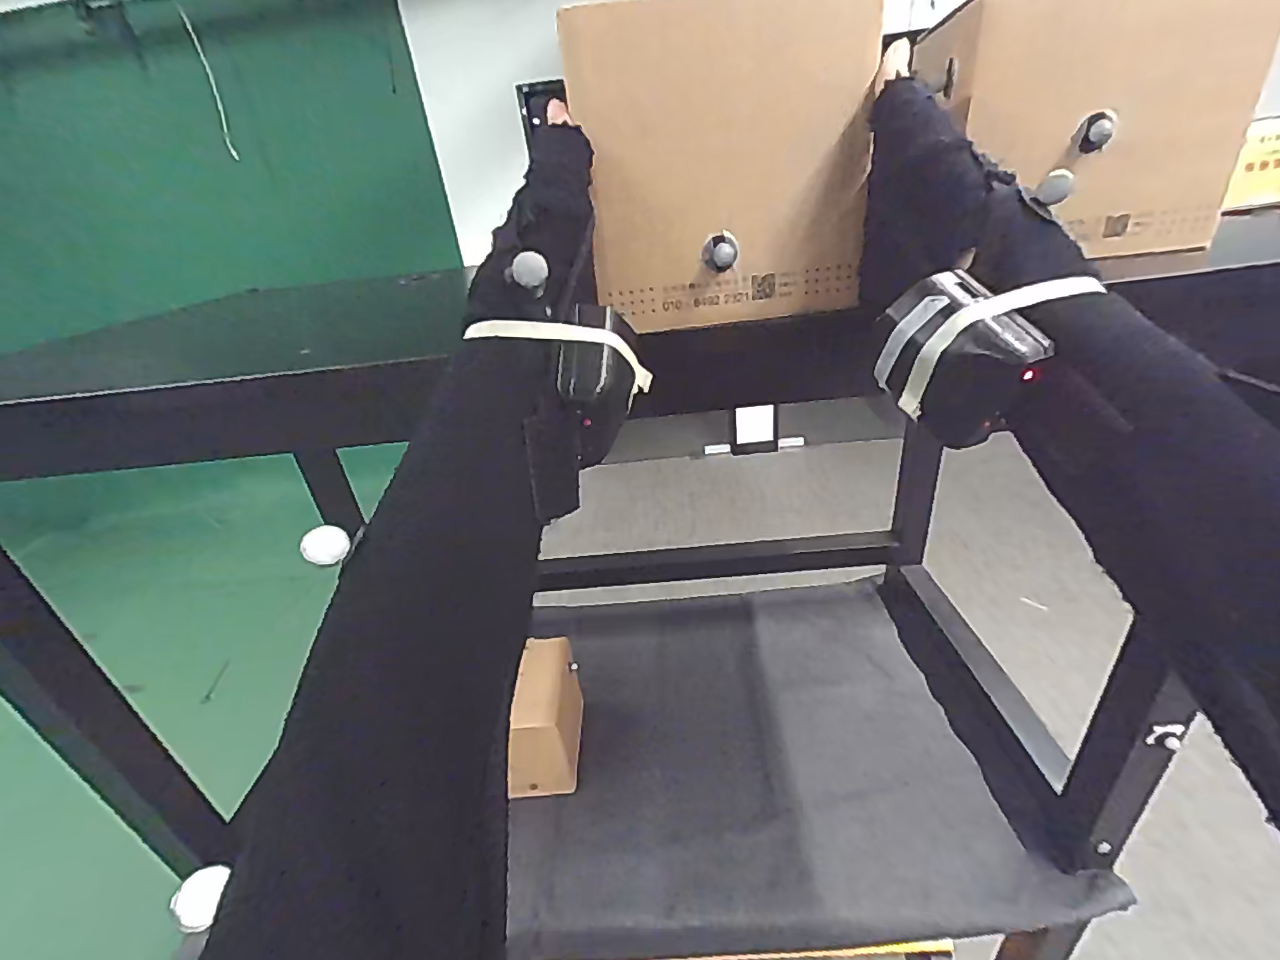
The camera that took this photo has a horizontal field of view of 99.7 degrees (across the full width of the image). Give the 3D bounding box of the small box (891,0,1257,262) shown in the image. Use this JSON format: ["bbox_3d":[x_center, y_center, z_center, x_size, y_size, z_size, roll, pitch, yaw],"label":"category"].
[{"bbox_3d":[0.303,-0.270,0.418,0.168,0.176,0.179,-1,28,13],"label":"small box"}]
